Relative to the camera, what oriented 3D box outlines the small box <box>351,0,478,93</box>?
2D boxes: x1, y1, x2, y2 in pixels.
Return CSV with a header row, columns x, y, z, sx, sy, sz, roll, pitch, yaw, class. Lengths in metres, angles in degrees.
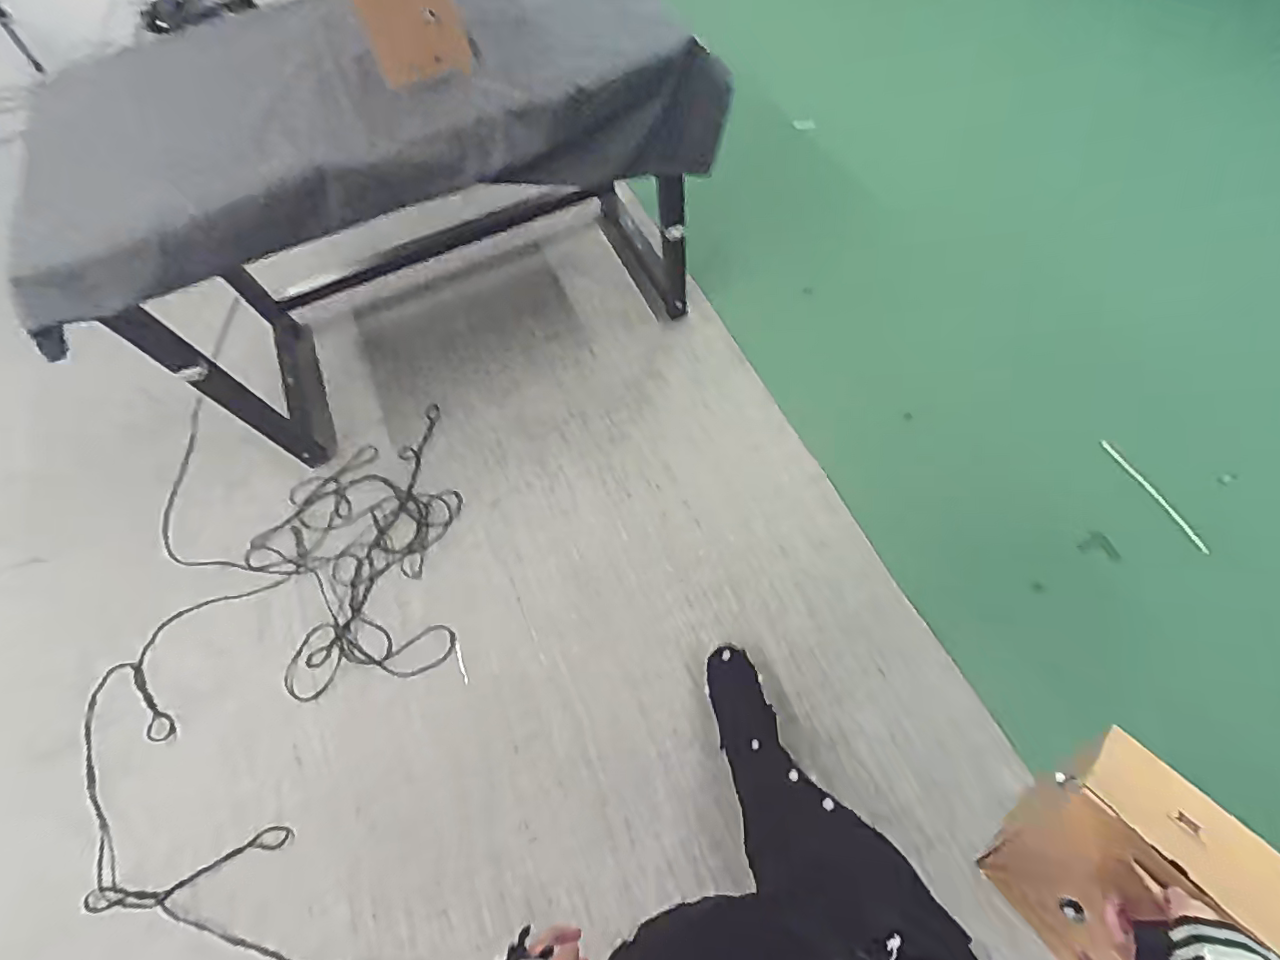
x,y,z,sx,sy,sz,roll,pitch,yaw,class
-0.409,-0.833,0.972,0.168,0.176,0.179,-21,63,-6,small box
